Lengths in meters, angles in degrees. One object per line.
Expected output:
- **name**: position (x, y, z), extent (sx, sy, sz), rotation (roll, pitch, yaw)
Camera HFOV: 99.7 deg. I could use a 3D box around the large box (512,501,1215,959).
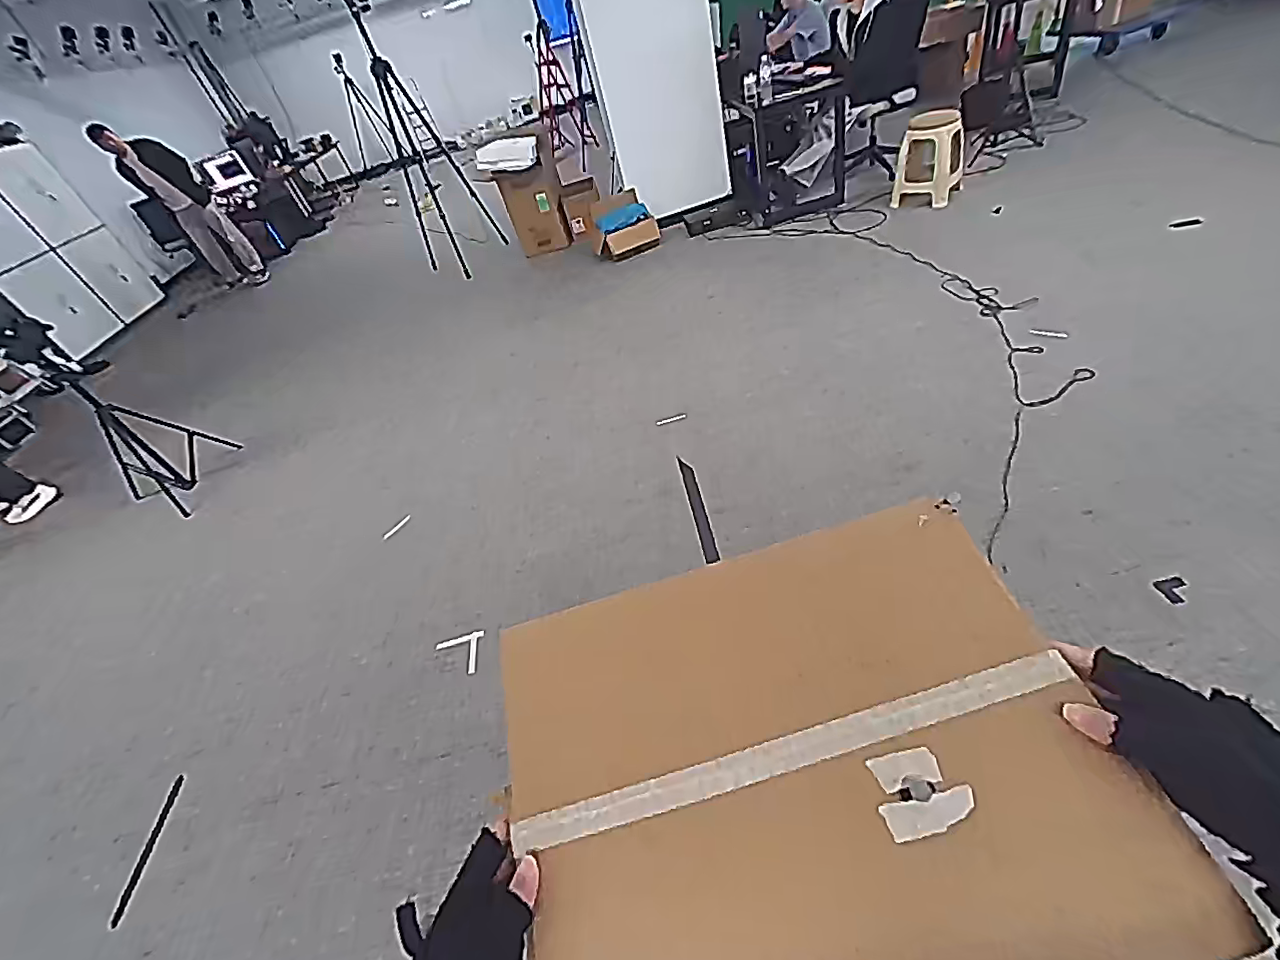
- **large box**: position (0.134, 0.280, 0.516), extent (0.408, 0.320, 0.320), rotation (-17, 54, -1)
